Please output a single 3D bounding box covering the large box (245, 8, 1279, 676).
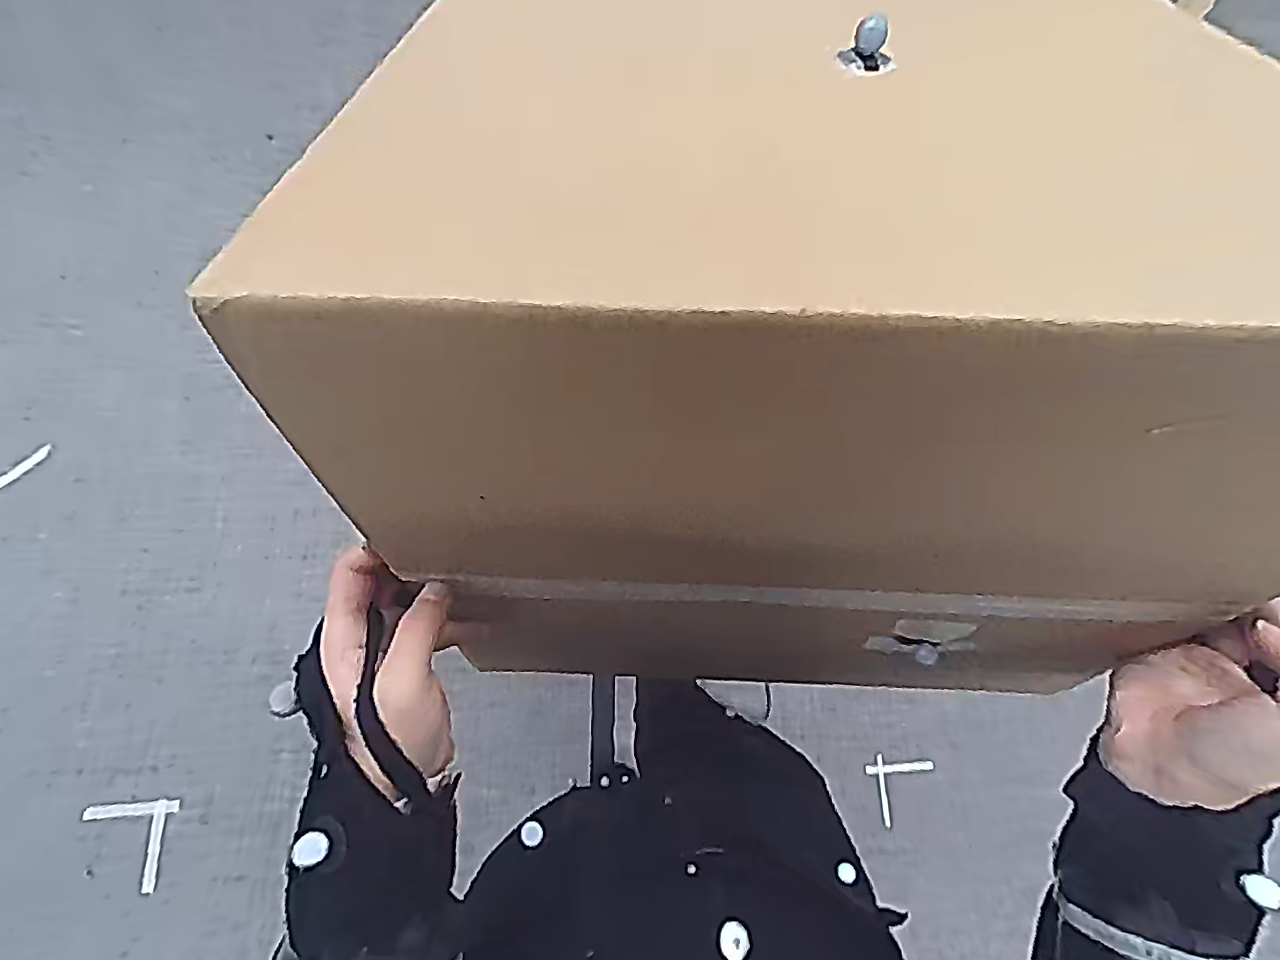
[{"bbox_3d":[0.085,-0.073,0.356,0.408,0.320,0.320,1,55,0],"label":"large box"}]
